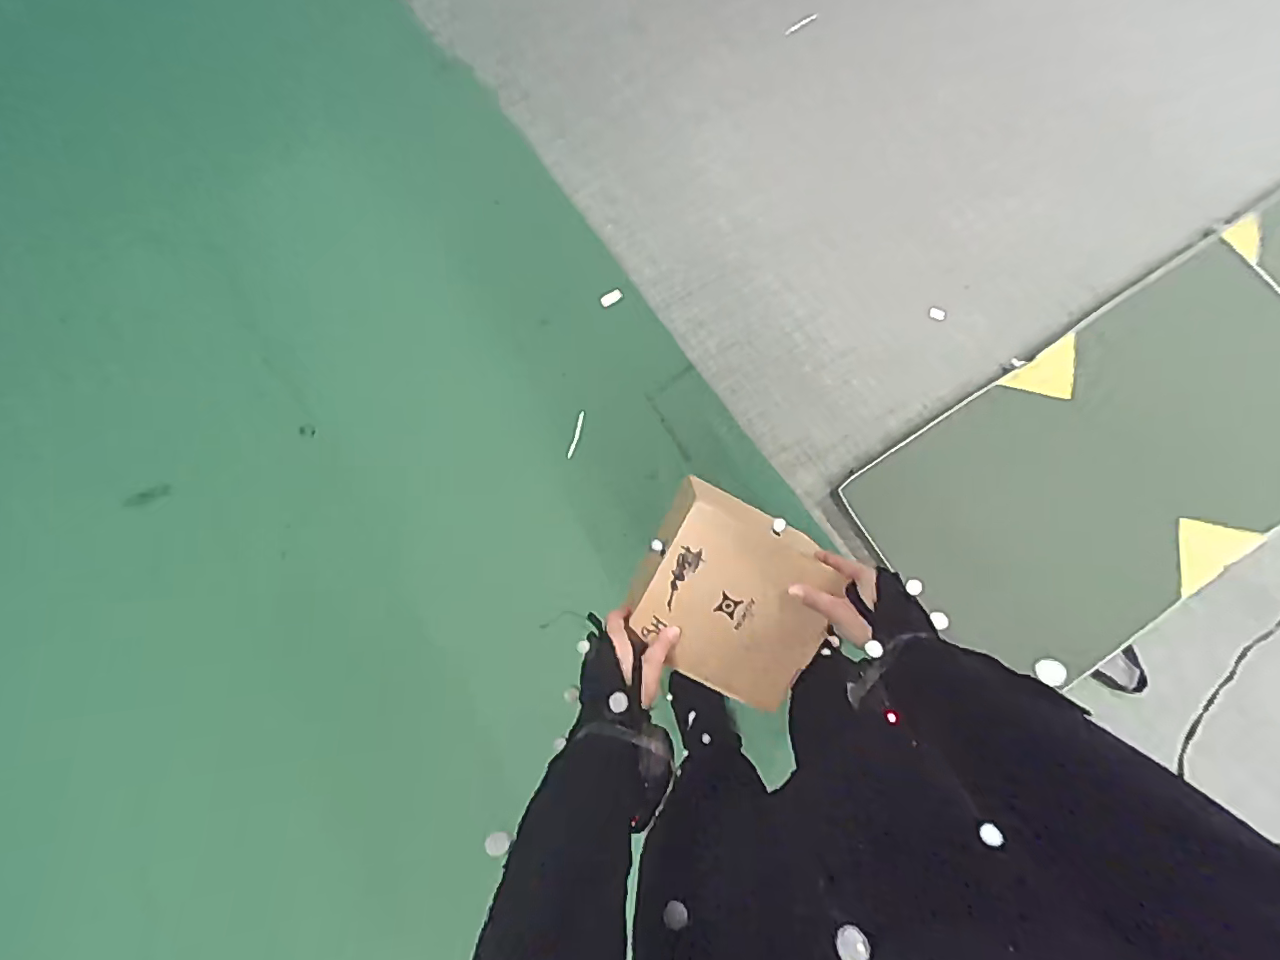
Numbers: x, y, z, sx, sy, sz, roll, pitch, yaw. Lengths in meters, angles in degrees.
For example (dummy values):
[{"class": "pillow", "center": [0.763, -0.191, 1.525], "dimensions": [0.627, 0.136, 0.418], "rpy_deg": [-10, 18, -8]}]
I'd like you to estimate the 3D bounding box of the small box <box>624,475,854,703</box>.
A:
[{"class": "small box", "center": [0.100, 0.107, 0.614], "dimensions": [0.179, 0.176, 0.168], "rpy_deg": [29, 98, -3]}]
